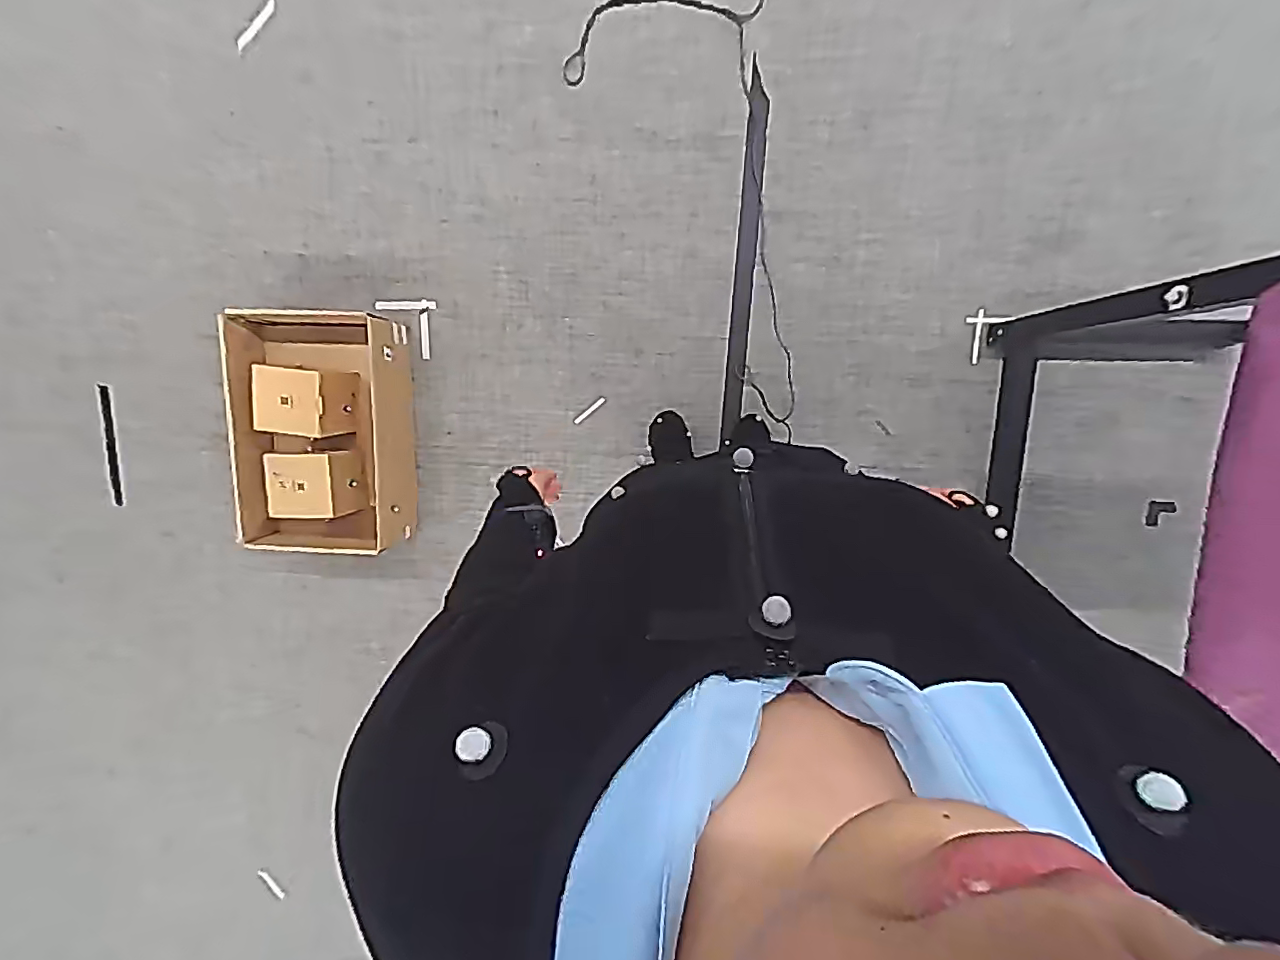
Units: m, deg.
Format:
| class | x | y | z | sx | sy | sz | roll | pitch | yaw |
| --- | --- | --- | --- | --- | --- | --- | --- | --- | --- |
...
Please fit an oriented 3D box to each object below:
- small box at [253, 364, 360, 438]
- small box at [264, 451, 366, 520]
| class | x | y | z | sx | sy | sz | roll | pitch | yaw |
| --- | --- | --- | --- | --- | --- | --- | --- | --- | --- |
| small box | -0.870 | -0.207 | 1.418 | 0.179 | 0.176 | 0.168 | 8 | 100 | 3 |
| small box | -0.858 | 0.008 | 1.448 | 0.179 | 0.176 | 0.168 | 1 | 97 | 4 |
